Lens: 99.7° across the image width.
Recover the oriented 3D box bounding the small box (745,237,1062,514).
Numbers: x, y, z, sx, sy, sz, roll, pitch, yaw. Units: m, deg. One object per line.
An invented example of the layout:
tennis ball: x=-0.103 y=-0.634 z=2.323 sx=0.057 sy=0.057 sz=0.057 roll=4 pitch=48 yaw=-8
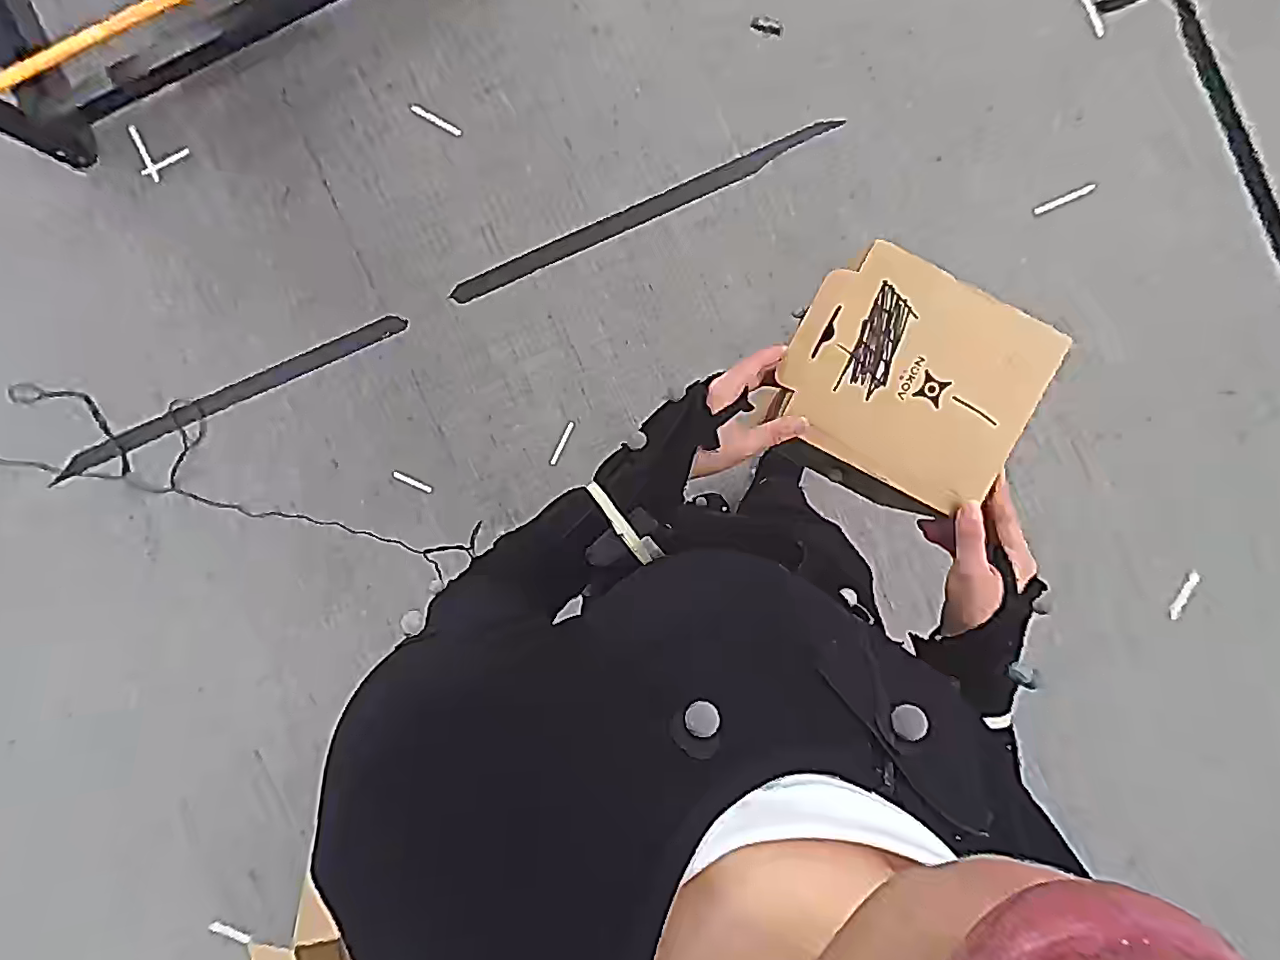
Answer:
small box: x=0.218 y=-0.085 z=0.504 sx=0.179 sy=0.176 sz=0.168 roll=27 pitch=94 yaw=-1
